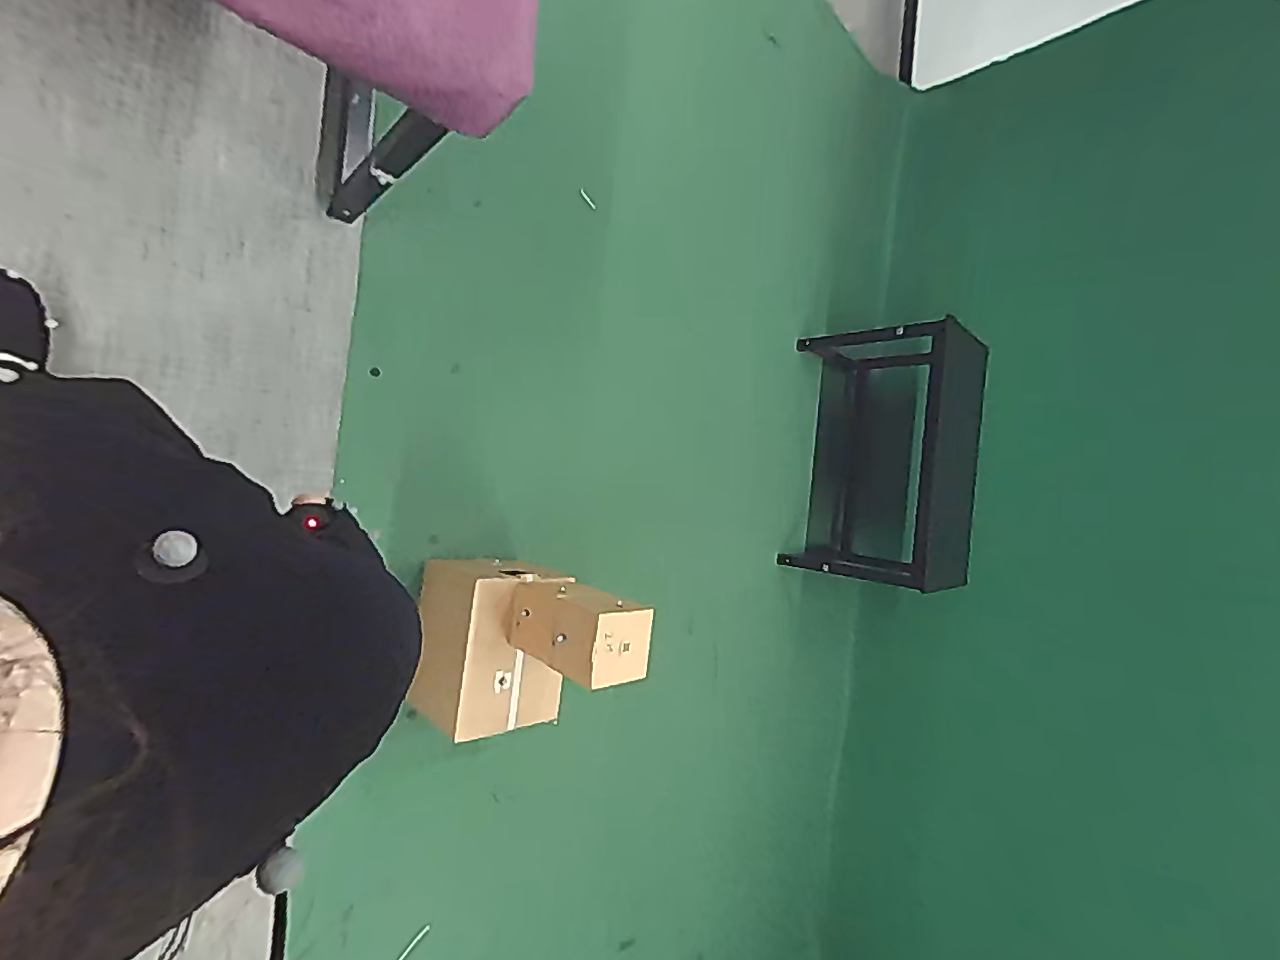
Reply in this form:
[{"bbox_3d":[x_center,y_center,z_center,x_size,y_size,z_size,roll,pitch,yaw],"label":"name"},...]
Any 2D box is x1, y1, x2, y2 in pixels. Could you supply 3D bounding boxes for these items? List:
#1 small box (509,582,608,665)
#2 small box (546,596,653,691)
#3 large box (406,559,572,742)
[{"bbox_3d":[-0.209,0.361,1.390,0.179,0.176,0.168,10,87,-45],"label":"small box"},{"bbox_3d":[-0.095,0.374,1.272,0.179,0.176,0.168,8,88,-44],"label":"small box"},{"bbox_3d":[-0.427,0.446,1.524,0.320,0.320,0.408,9,88,-44],"label":"large box"}]
